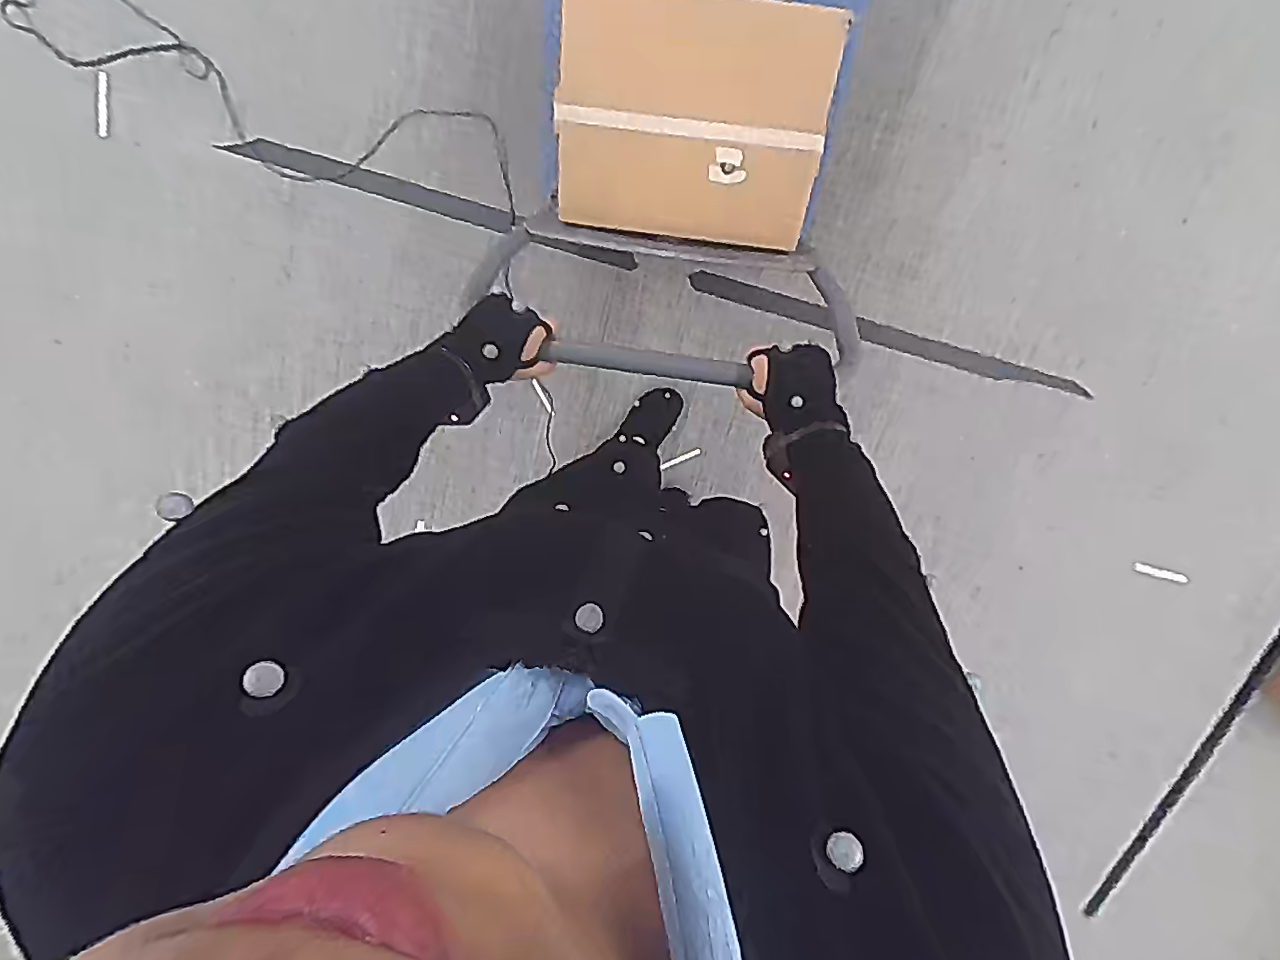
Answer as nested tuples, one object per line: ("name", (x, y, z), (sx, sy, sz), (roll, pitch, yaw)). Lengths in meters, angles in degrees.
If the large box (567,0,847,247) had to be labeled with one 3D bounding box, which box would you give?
("large box", (0.092, -0.621, 0.966), (0.408, 0.320, 0.320), (6, 123, 0))
